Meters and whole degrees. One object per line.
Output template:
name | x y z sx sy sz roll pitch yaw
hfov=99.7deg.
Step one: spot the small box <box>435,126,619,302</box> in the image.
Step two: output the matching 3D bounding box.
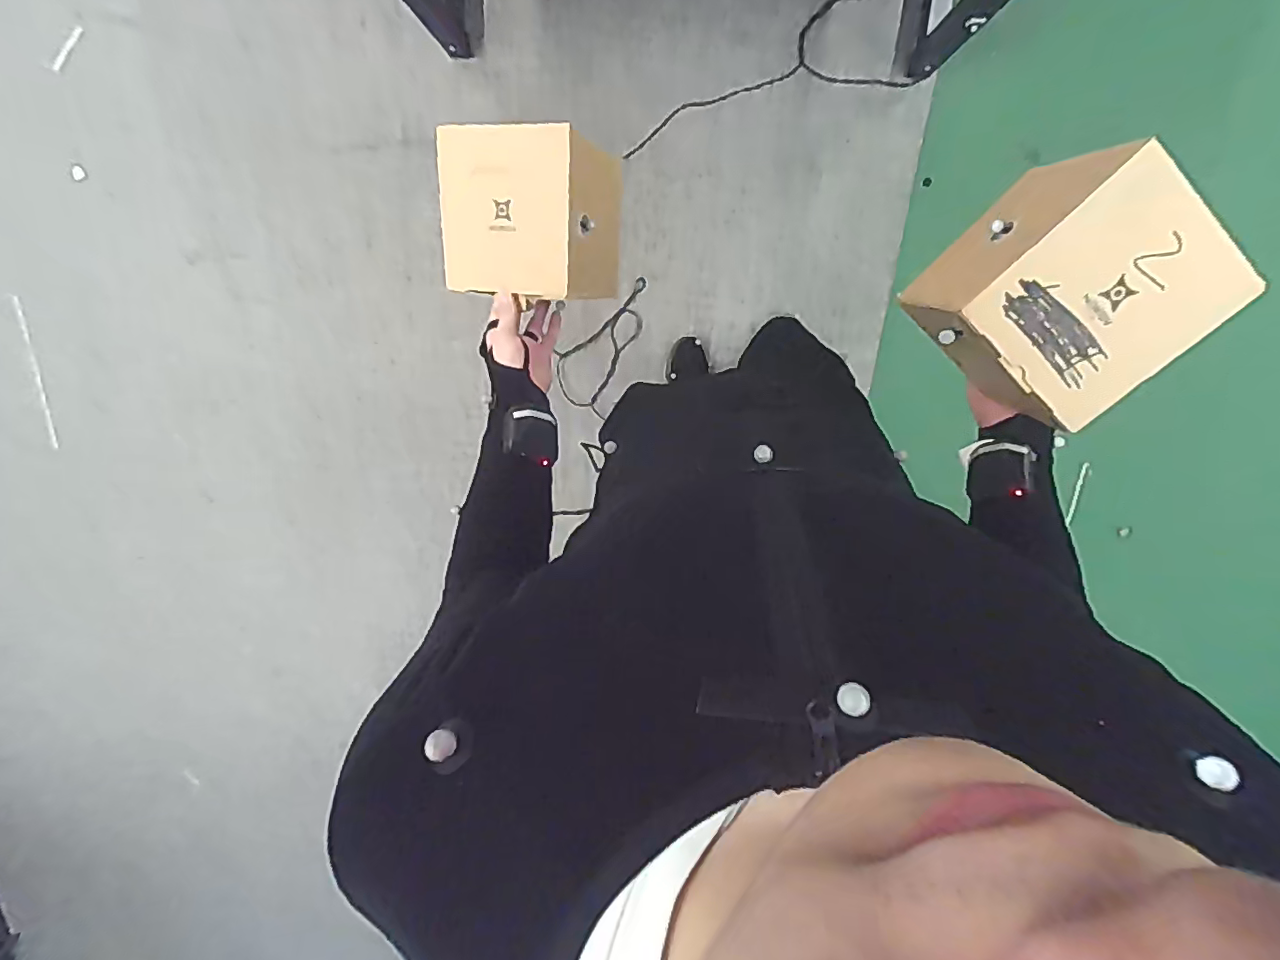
small box | -0.132 -0.325 0.681 0.168 0.176 0.179 10 111 15
